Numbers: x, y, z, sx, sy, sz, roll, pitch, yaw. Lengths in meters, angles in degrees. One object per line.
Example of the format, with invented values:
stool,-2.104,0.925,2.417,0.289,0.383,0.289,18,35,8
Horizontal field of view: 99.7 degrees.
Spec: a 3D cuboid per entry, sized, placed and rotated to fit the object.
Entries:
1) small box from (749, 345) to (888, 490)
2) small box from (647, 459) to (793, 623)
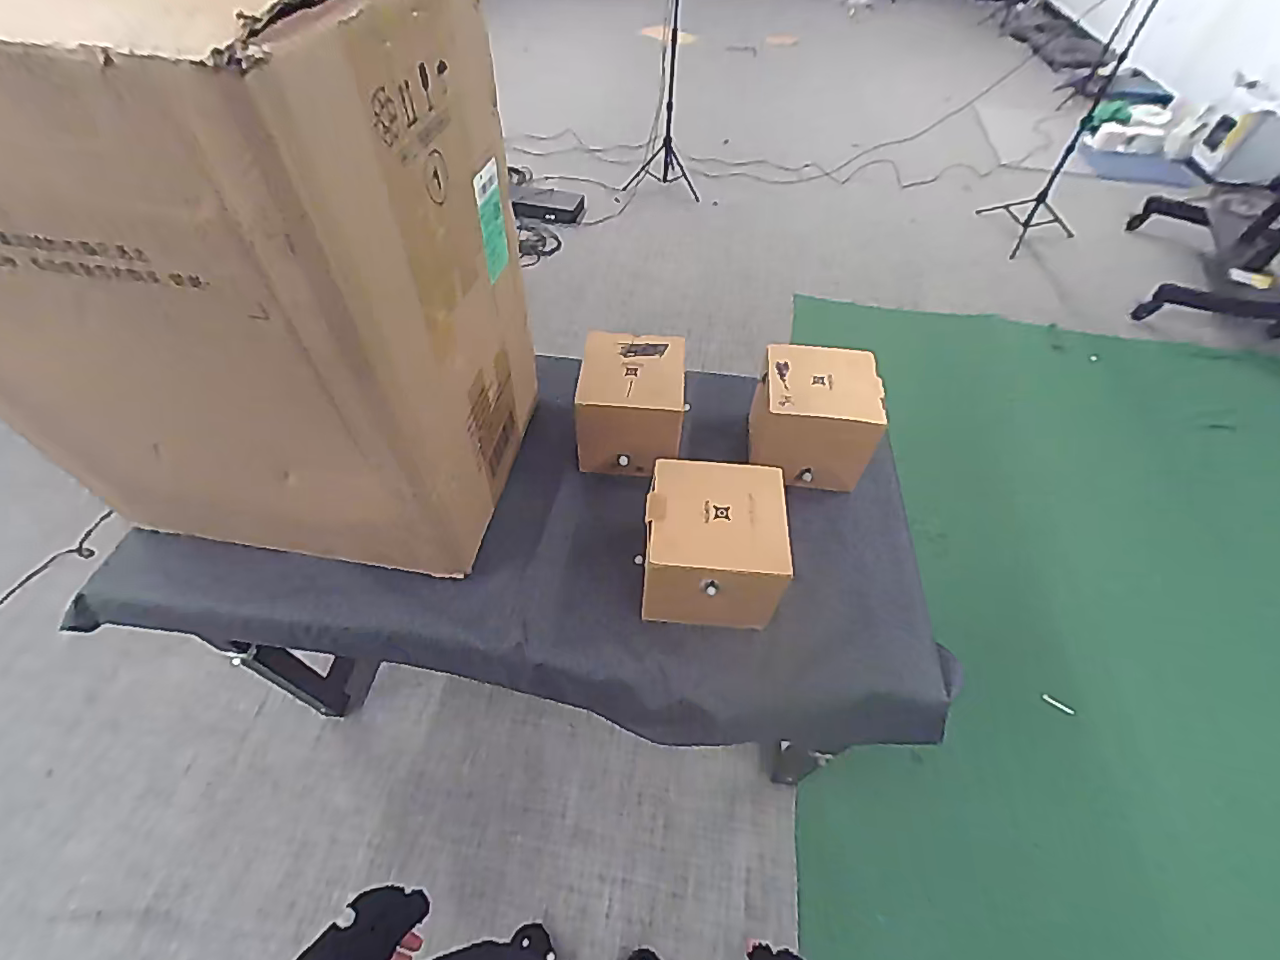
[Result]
small box,0.290,-0.101,0.917,0.179,0.176,0.168,7,51,3
small box,0.103,0.090,0.762,0.179,0.176,0.168,5,53,0
